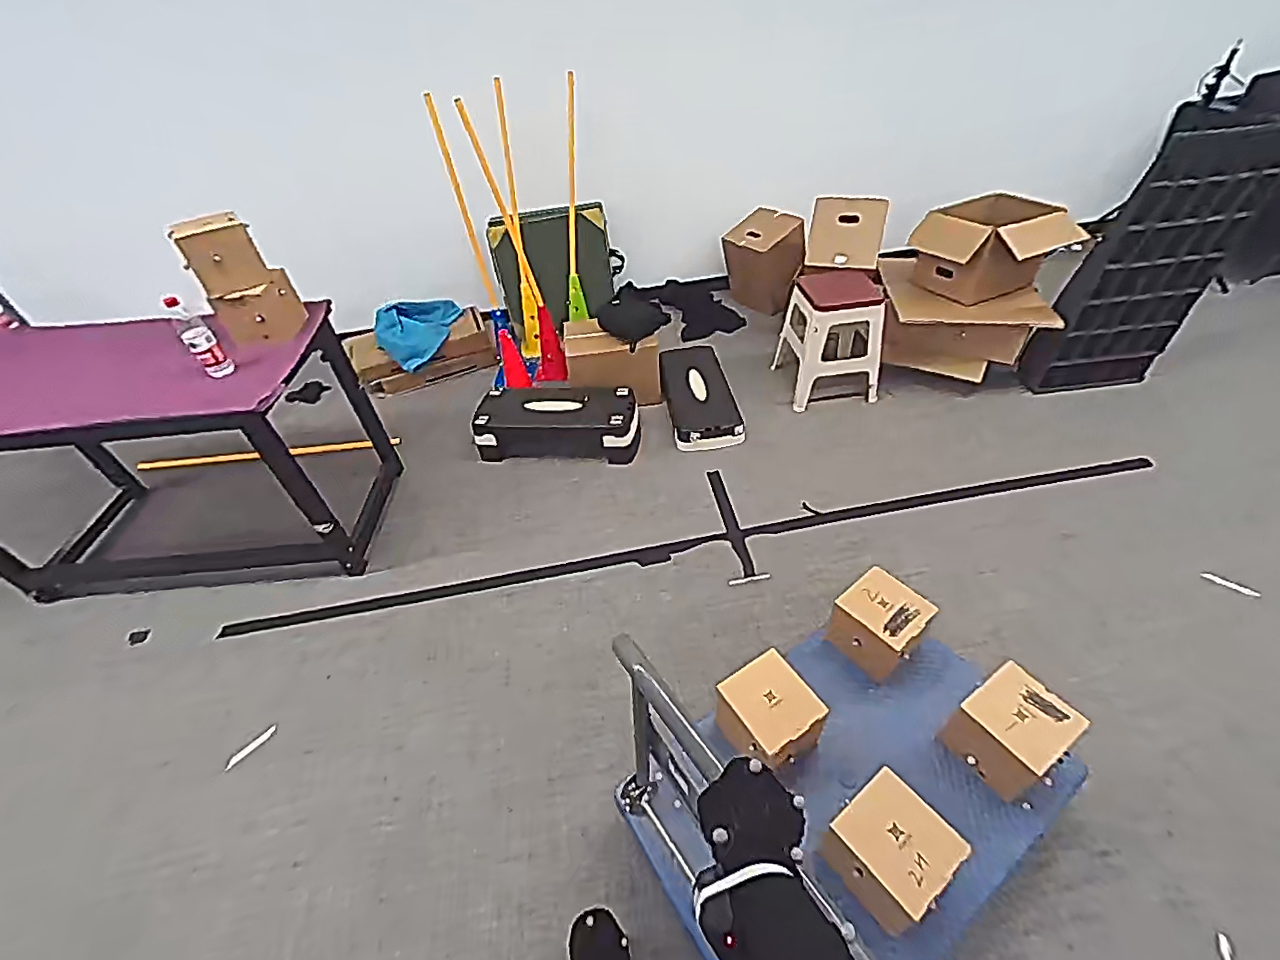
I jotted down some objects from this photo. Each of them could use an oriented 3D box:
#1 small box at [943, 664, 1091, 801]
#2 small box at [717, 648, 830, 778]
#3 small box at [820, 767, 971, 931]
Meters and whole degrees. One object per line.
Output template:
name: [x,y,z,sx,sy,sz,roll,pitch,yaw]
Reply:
small box: [0.774,0.528,1.132,0.179,0.176,0.168,-27,47,-19]
small box: [0.285,0.517,1.196,0.168,0.176,0.179,-25,49,-20]
small box: [0.459,0.684,1.003,0.168,0.176,0.179,-29,48,-22]
